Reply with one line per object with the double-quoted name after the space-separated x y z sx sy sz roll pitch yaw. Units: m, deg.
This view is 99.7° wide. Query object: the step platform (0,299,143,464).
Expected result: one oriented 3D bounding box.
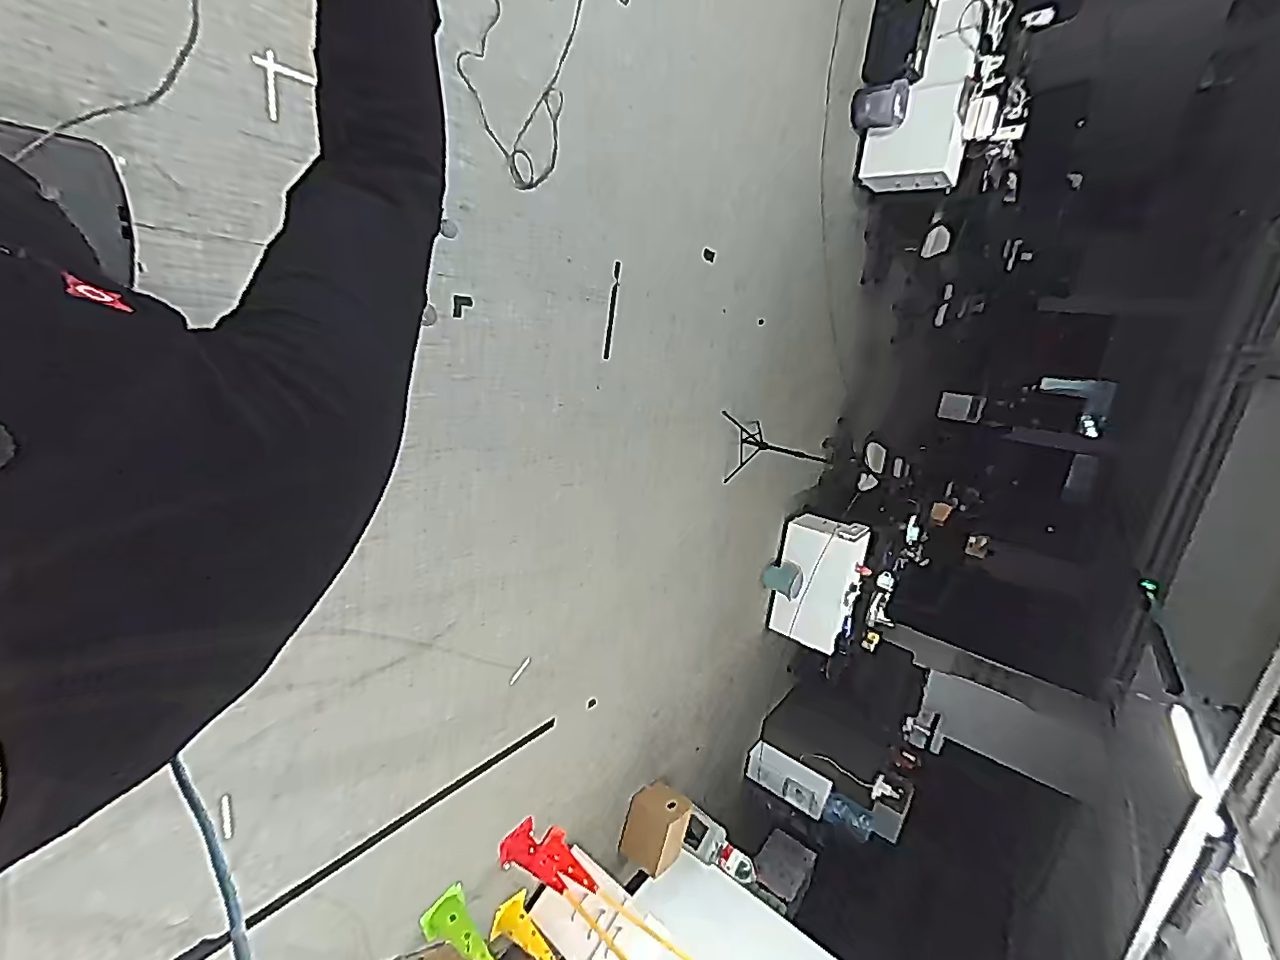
-1.254 -0.156 0.859 0.684 0.204 0.286 -15 116 -49 "step platform"
